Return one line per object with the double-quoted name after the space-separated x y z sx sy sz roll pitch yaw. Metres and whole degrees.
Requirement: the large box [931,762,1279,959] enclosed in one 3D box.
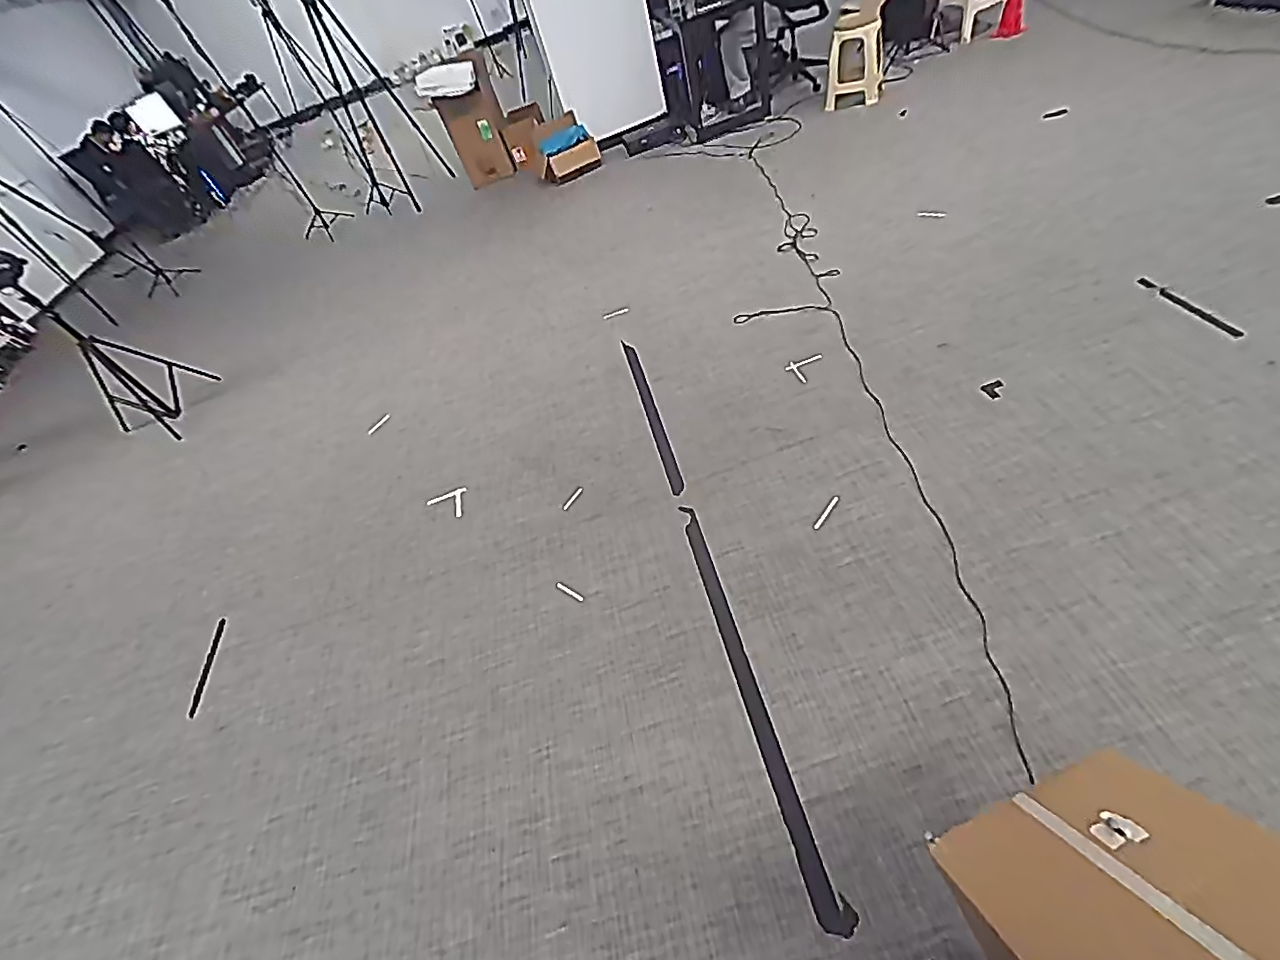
0.635 0.606 0.604 0.320 0.408 0.320 -26 84 -1 "large box"
